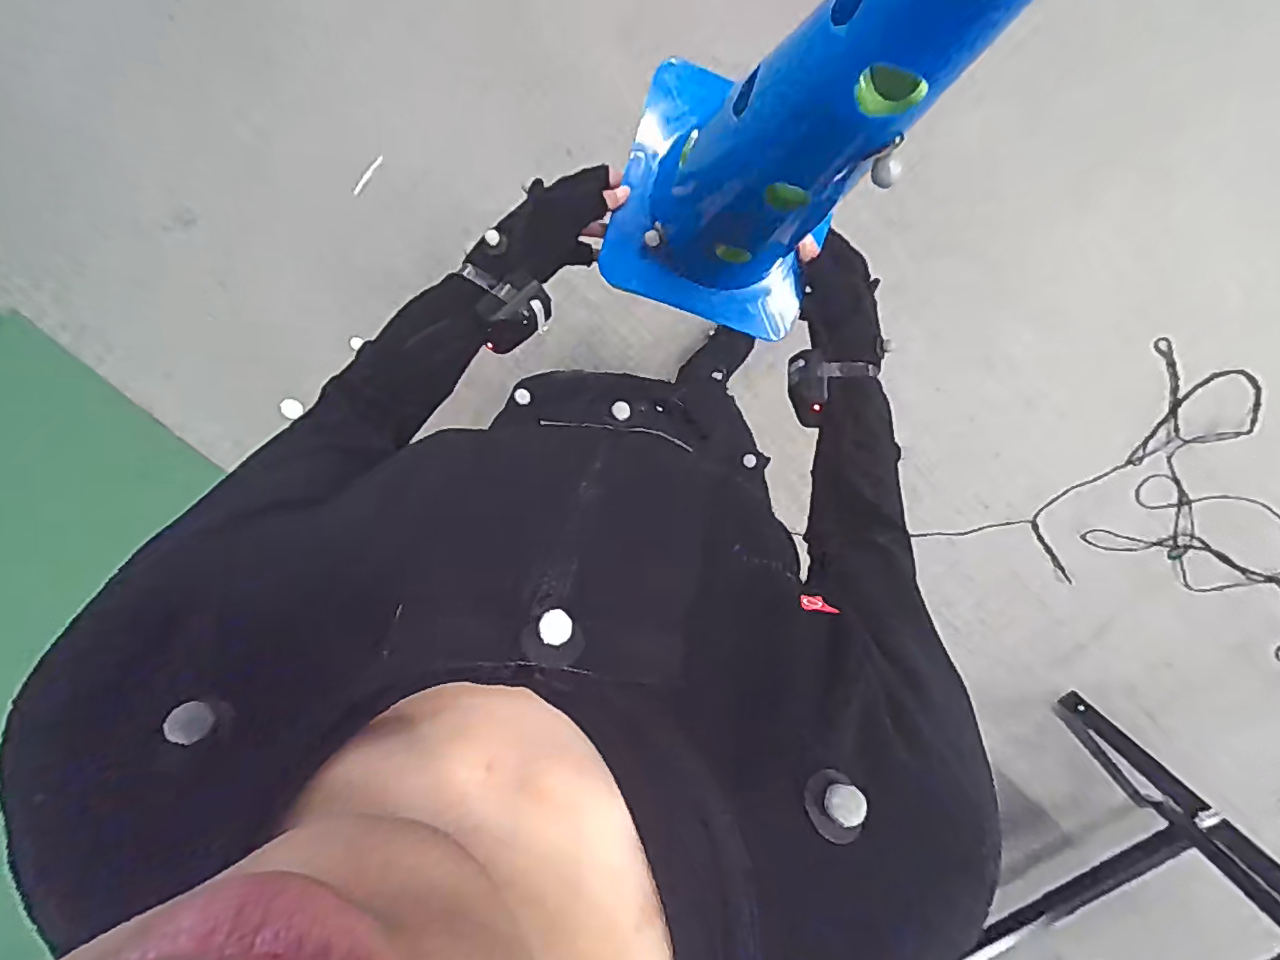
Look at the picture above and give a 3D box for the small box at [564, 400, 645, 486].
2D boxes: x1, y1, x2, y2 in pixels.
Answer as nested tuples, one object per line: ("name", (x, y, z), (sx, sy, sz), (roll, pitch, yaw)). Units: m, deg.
("small box", (-0.096, -0.102, 1.404), (0.168, 0.176, 0.179), (-13, 106, -13))
